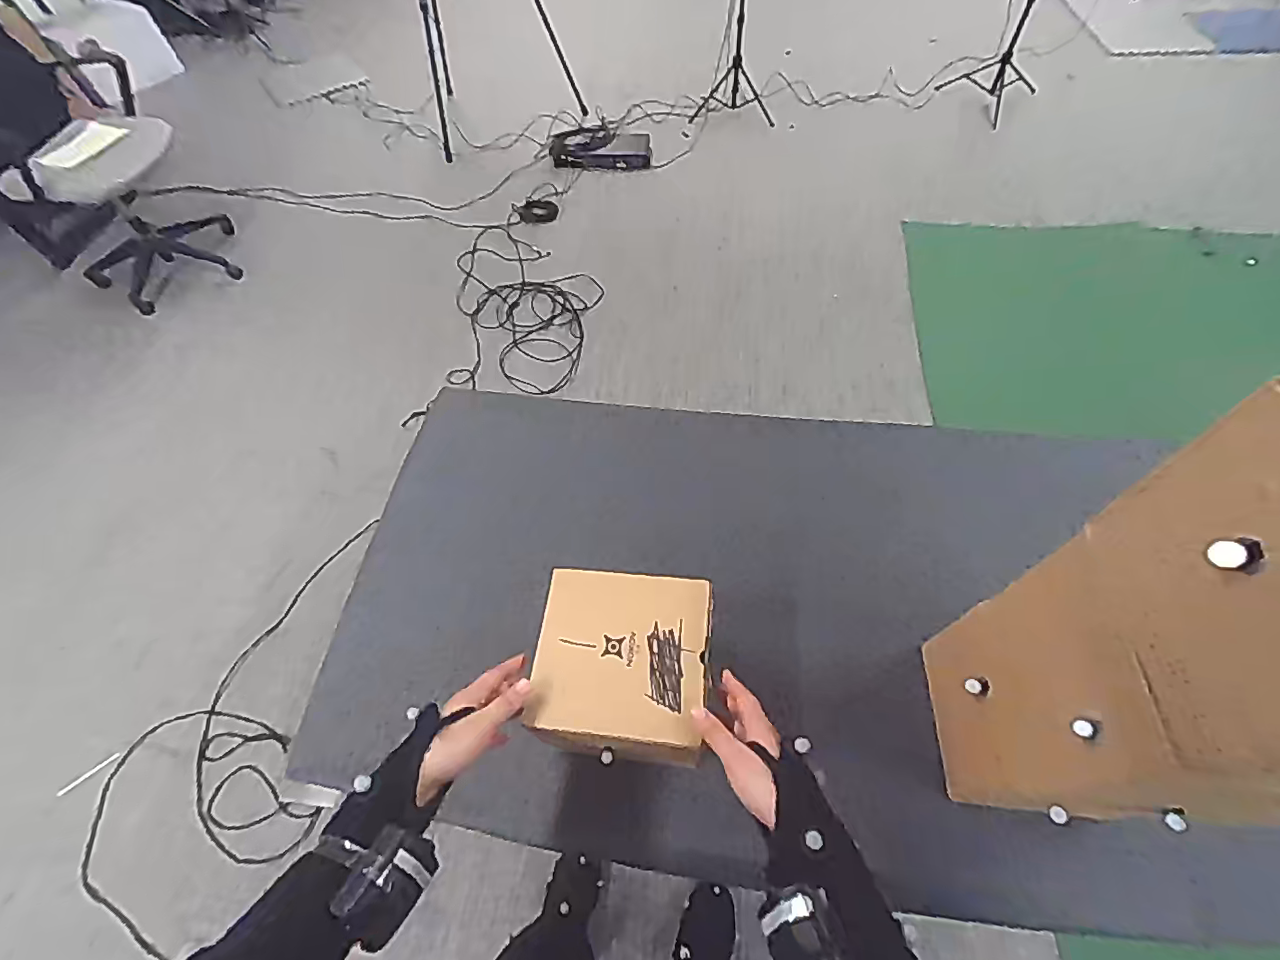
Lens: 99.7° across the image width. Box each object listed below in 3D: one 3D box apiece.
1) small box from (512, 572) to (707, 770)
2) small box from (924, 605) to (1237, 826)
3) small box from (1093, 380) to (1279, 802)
[{"bbox_3d":[-0.020,0.219,0.606,0.179,0.176,0.168,4,57,7],"label":"small box"},{"bbox_3d":[0.422,0.248,0.561,0.168,0.176,0.179,3,56,6],"label":"small box"},{"bbox_3d":[0.402,0.067,0.288,0.168,0.176,0.179,0,56,5],"label":"small box"}]
